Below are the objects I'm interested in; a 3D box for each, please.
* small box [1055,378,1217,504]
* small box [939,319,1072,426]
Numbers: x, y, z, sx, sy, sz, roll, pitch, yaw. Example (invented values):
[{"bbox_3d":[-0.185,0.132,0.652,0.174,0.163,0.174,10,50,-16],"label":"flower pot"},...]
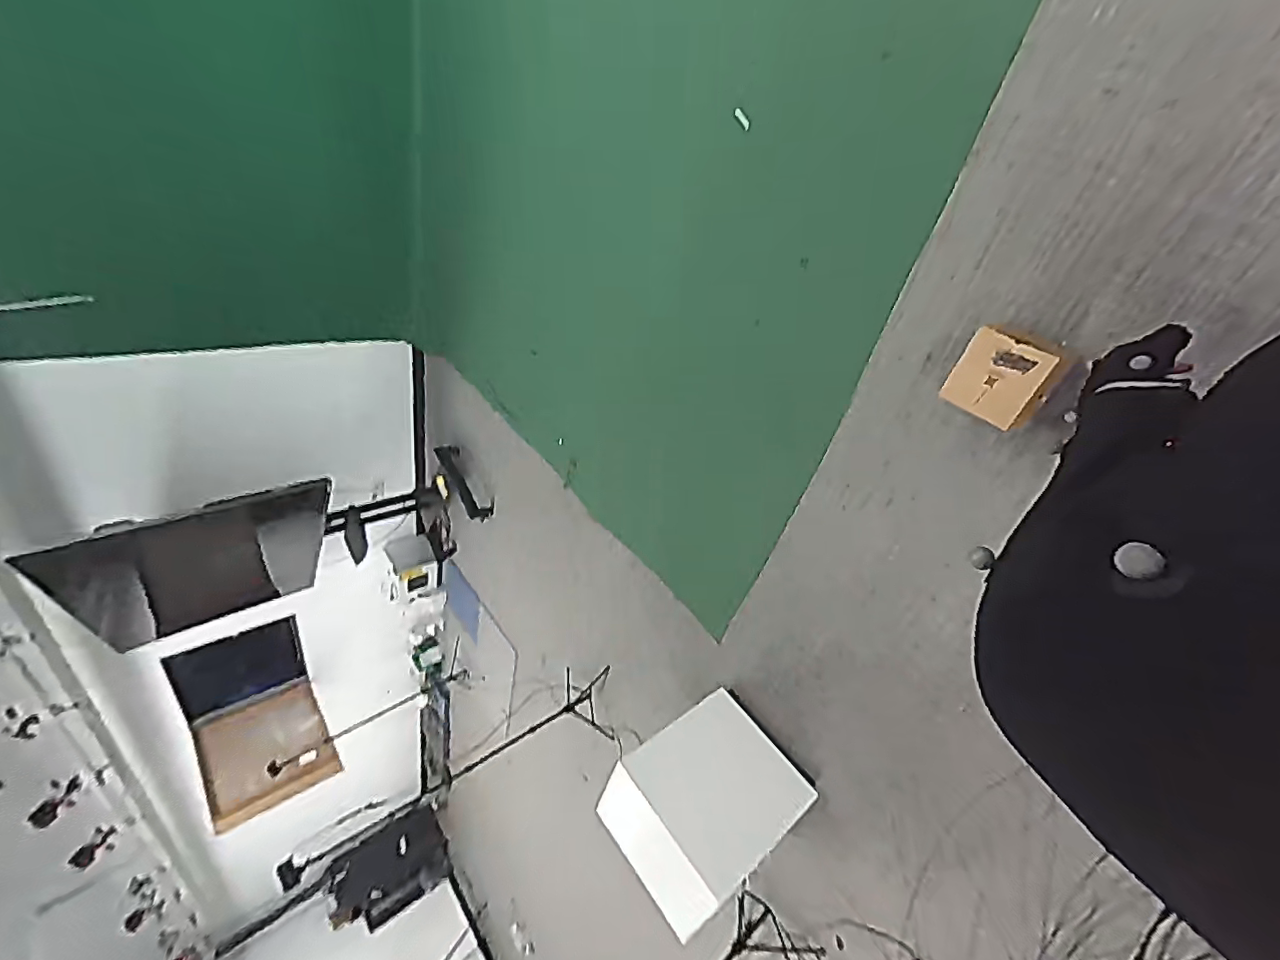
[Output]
[{"bbox_3d":[0.983,-0.084,1.070,0.168,0.176,0.179,43,132,32],"label":"small box"},{"bbox_3d":[0.818,-0.247,1.207,0.168,0.176,0.179,43,133,32],"label":"small box"}]
